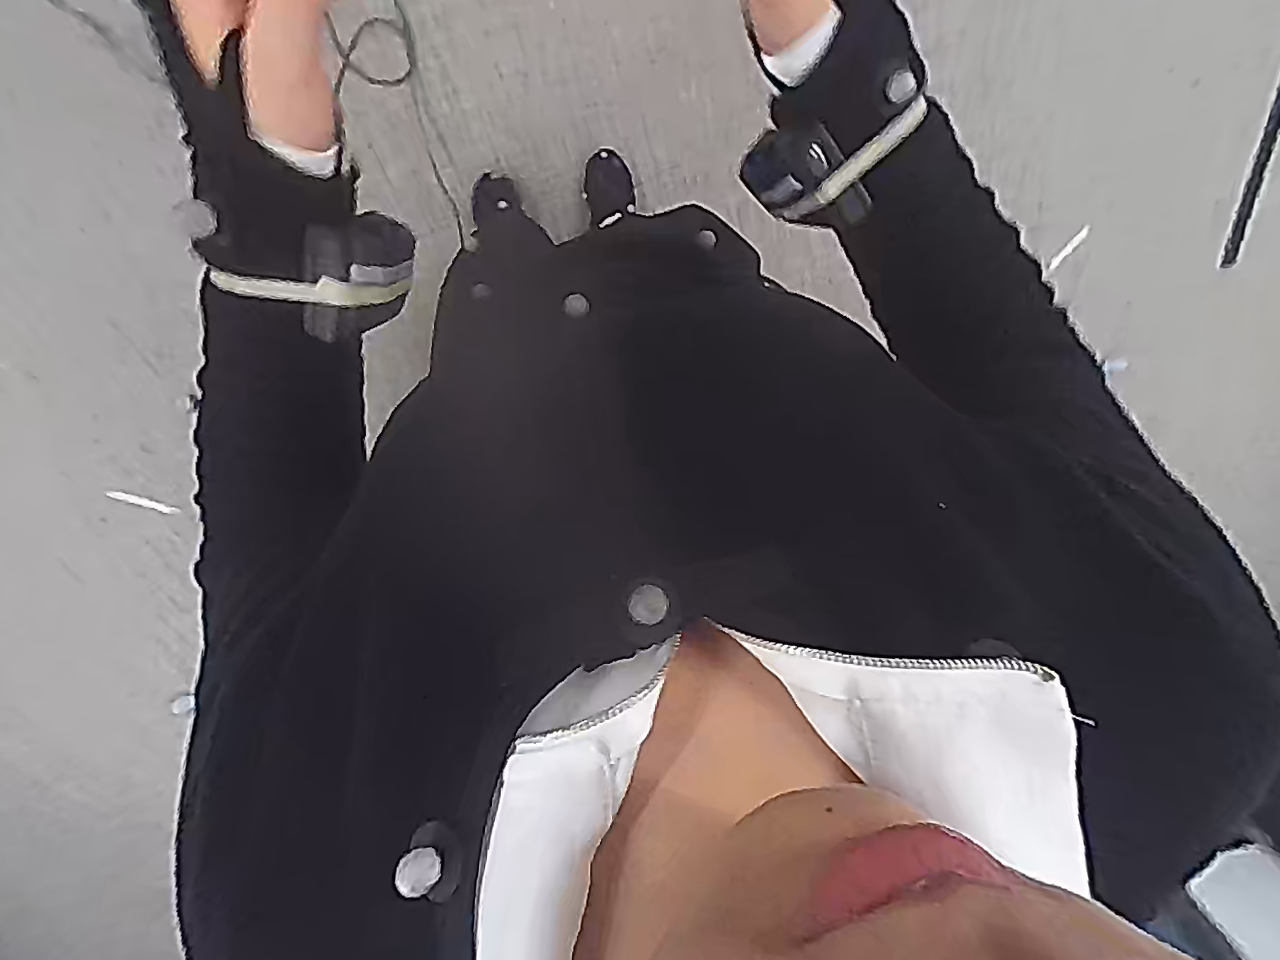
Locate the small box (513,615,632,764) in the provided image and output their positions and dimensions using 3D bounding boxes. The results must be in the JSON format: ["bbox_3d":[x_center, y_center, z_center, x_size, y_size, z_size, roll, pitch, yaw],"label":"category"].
[{"bbox_3d":[-0.121,0.384,1.002,0.168,0.176,0.179,-17,122,2],"label":"small box"}]

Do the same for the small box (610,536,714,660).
[{"bbox_3d":[0.041,0.237,1.136,0.168,0.176,0.179,-17,121,-2],"label":"small box"}]
